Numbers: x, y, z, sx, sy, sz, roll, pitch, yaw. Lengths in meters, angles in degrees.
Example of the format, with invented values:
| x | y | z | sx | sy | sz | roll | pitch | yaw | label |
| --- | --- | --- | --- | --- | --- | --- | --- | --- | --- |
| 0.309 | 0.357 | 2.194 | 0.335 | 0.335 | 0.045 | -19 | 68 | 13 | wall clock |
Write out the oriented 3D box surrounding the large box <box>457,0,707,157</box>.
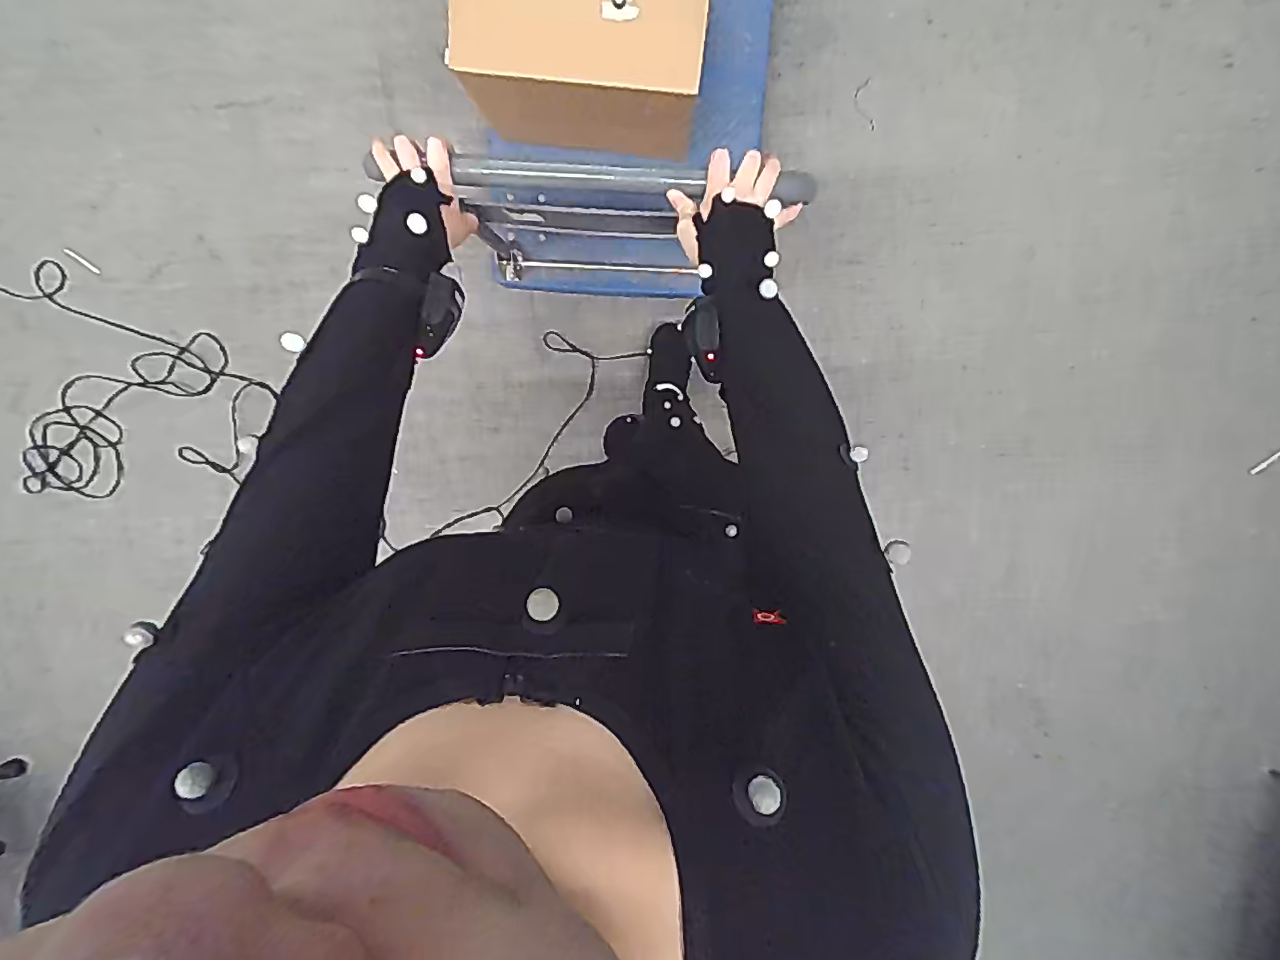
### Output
| x | y | z | sx | sy | sz | roll | pitch | yaw | label |
| --- | --- | --- | --- | --- | --- | --- | --- | --- | --- |
| -0.091 | -0.831 | 0.996 | 0.408 | 0.320 | 0.320 | 5 | 103 | -1 | large box |
